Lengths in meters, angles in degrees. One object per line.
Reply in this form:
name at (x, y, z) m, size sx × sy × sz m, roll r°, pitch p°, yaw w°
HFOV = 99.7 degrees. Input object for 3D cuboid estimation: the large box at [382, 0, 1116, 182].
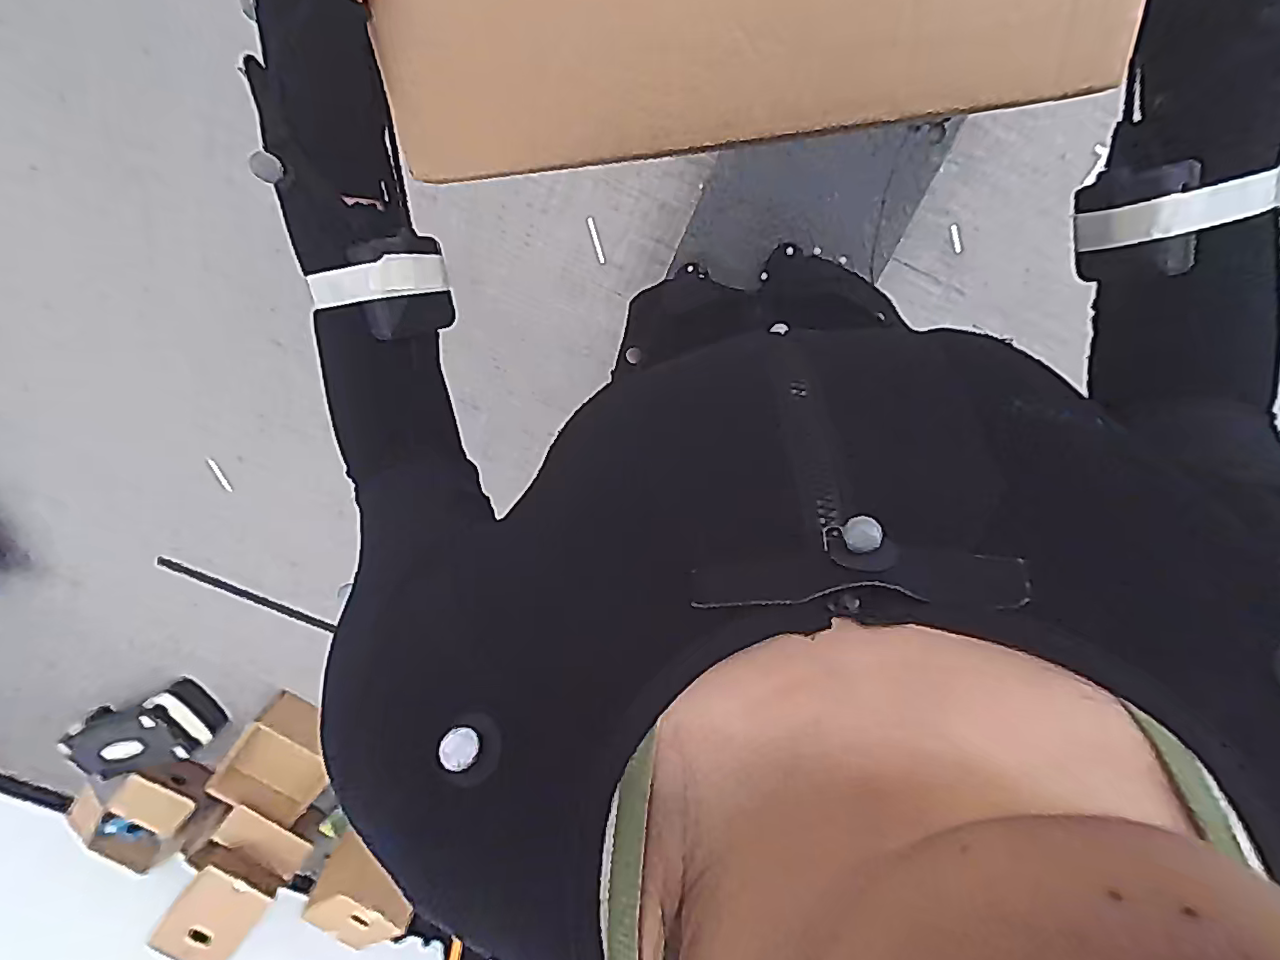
large box at (0.054, -0.414, 0.376) m, size 0.408 × 0.320 × 0.320 m, roll -4°, pitch 120°, yaw 6°
